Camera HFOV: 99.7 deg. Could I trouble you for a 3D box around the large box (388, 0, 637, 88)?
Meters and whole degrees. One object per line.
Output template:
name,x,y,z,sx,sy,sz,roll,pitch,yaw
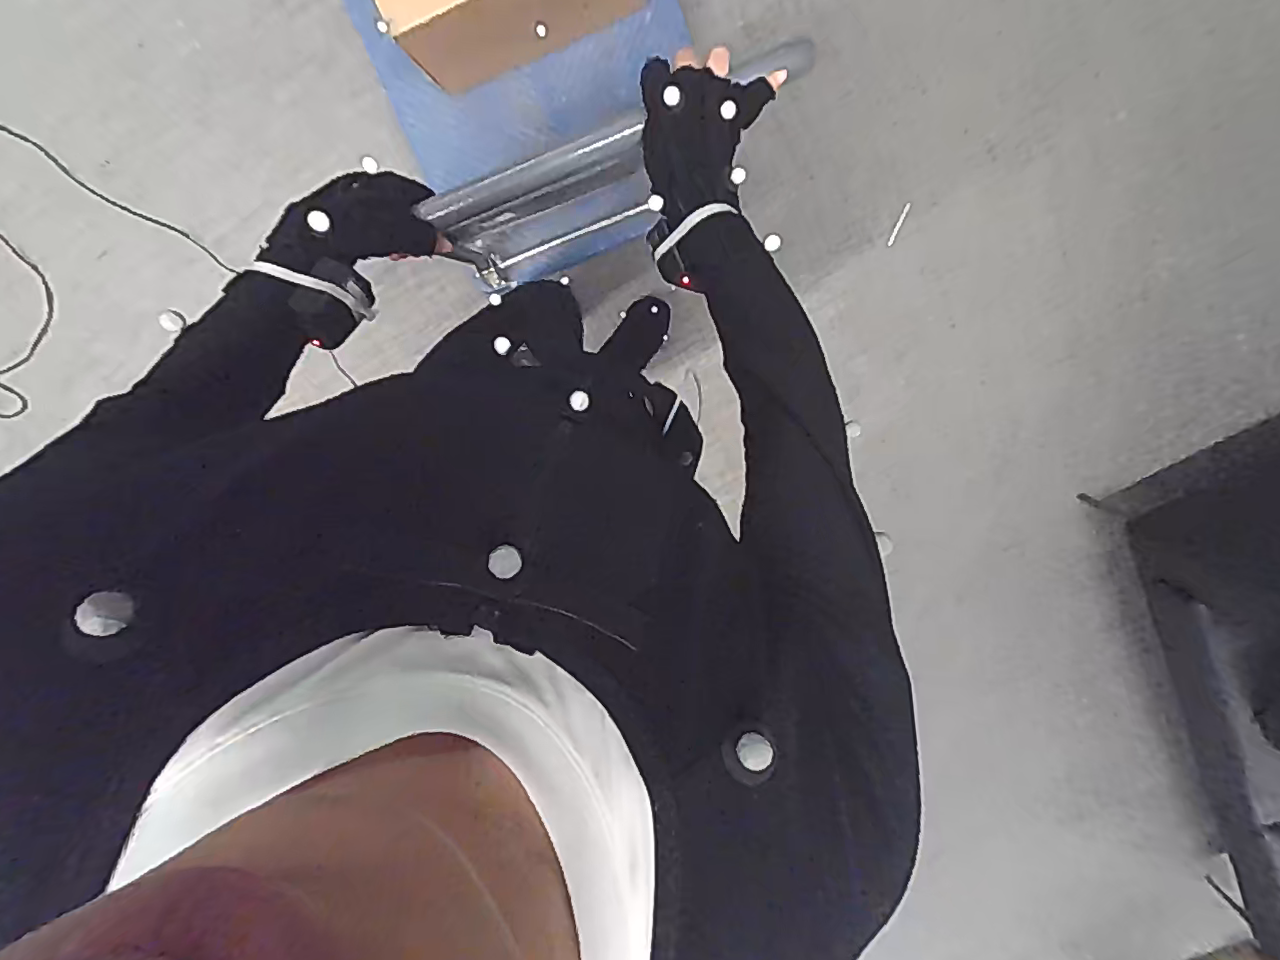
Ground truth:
large box,-0.212,-0.890,0.825,0.408,0.320,0.320,-21,111,7
